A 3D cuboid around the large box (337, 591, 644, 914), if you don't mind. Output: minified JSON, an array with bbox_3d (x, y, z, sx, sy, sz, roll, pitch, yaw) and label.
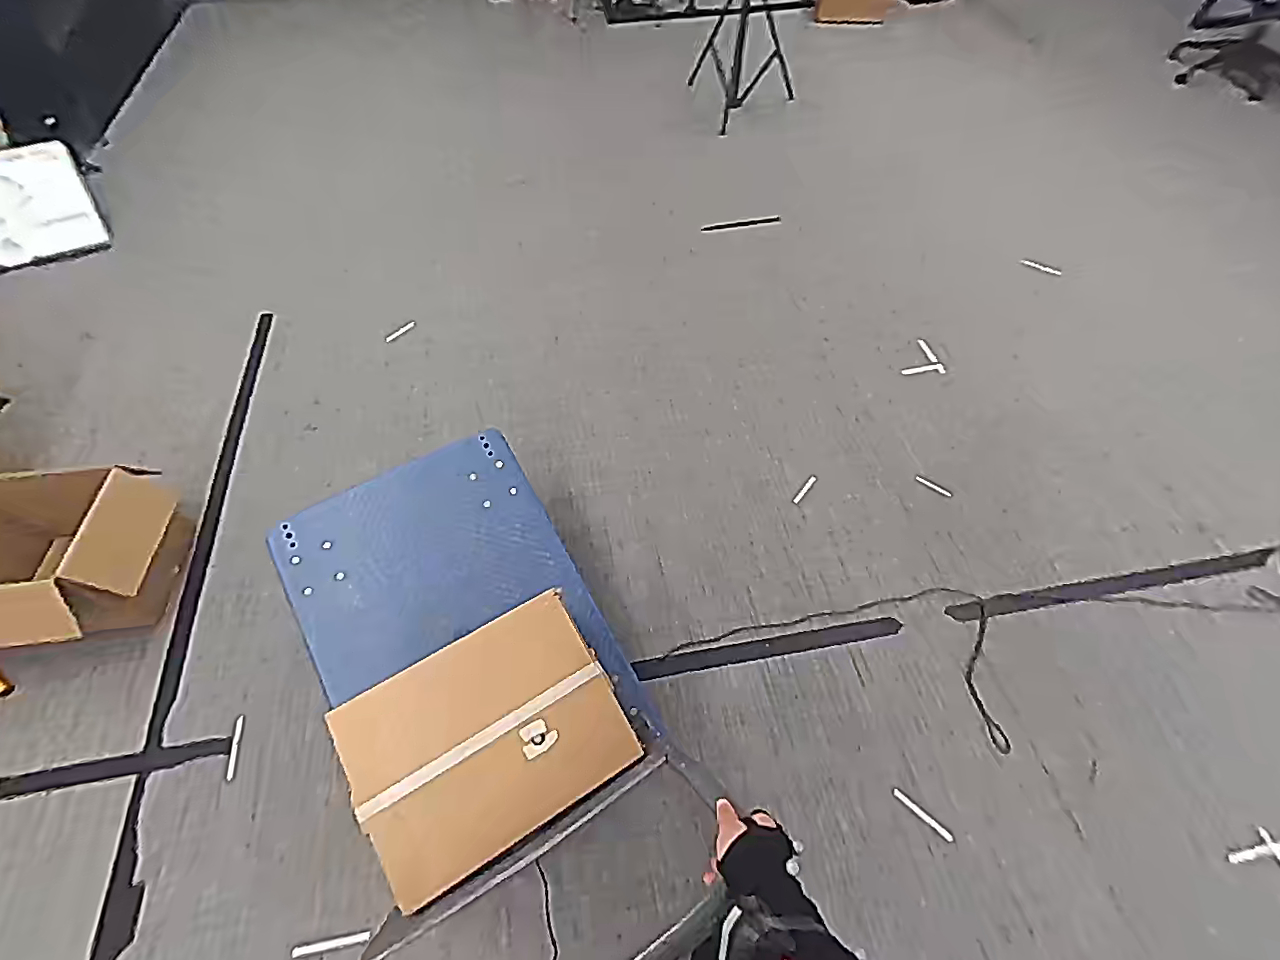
[{"bbox_3d":[-0.254,0.467,1.004,0.408,0.320,0.320,-28,75,-17],"label":"large box"}]
